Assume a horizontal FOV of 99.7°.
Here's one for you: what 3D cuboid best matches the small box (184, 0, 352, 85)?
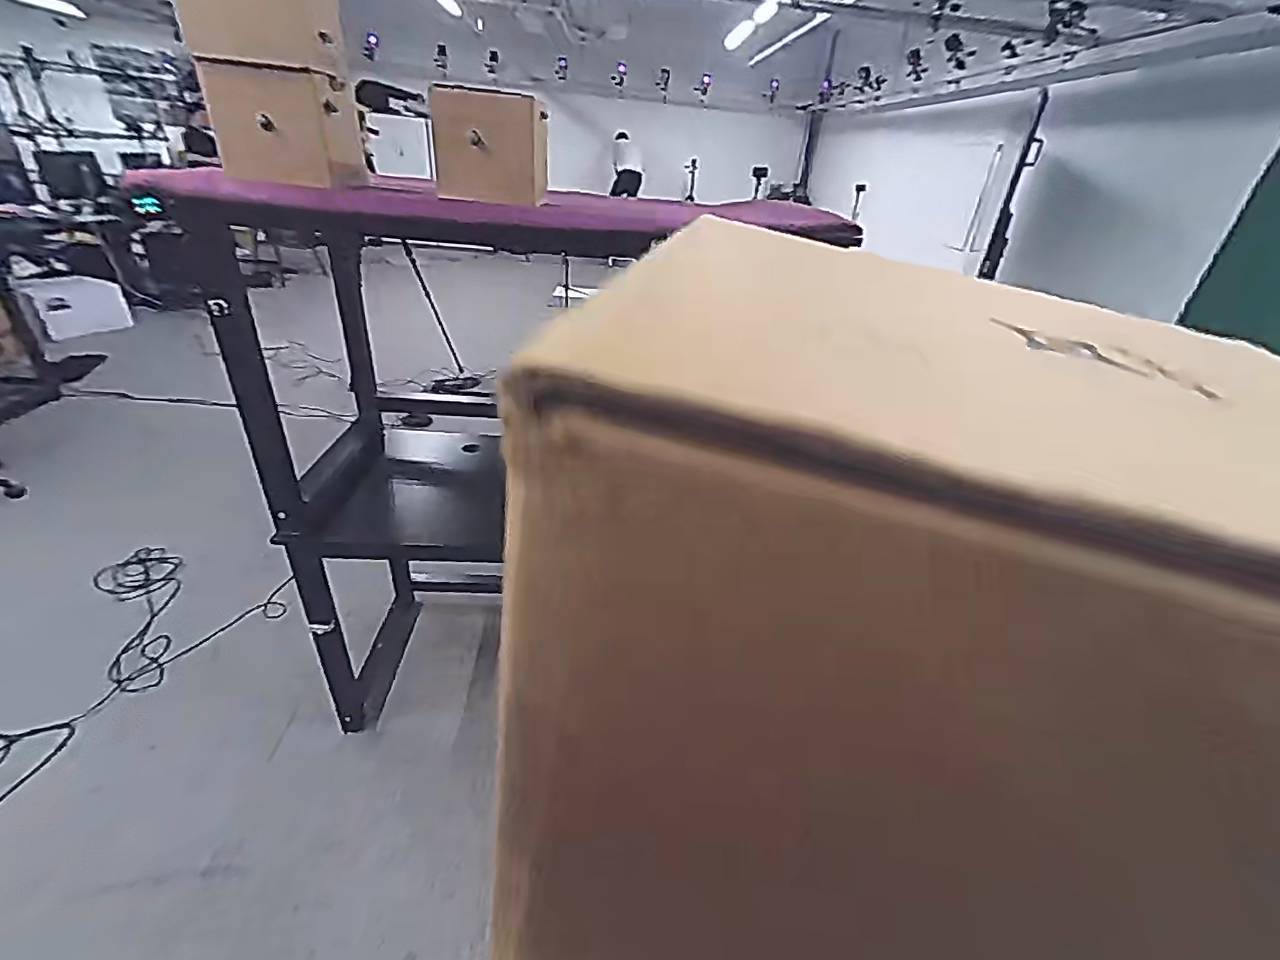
[{"bbox_3d":[-0.587,-0.745,0.854,0.179,0.176,0.168,3,31,-6],"label":"small box"}]

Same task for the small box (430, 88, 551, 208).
[{"bbox_3d":[-0.261,-0.597,0.988,0.179,0.176,0.168,3,31,-3],"label":"small box"}]

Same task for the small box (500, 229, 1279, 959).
[{"bbox_3d":[0.072,0.041,0.156,0.179,0.176,0.168,16,31,4],"label":"small box"}]
